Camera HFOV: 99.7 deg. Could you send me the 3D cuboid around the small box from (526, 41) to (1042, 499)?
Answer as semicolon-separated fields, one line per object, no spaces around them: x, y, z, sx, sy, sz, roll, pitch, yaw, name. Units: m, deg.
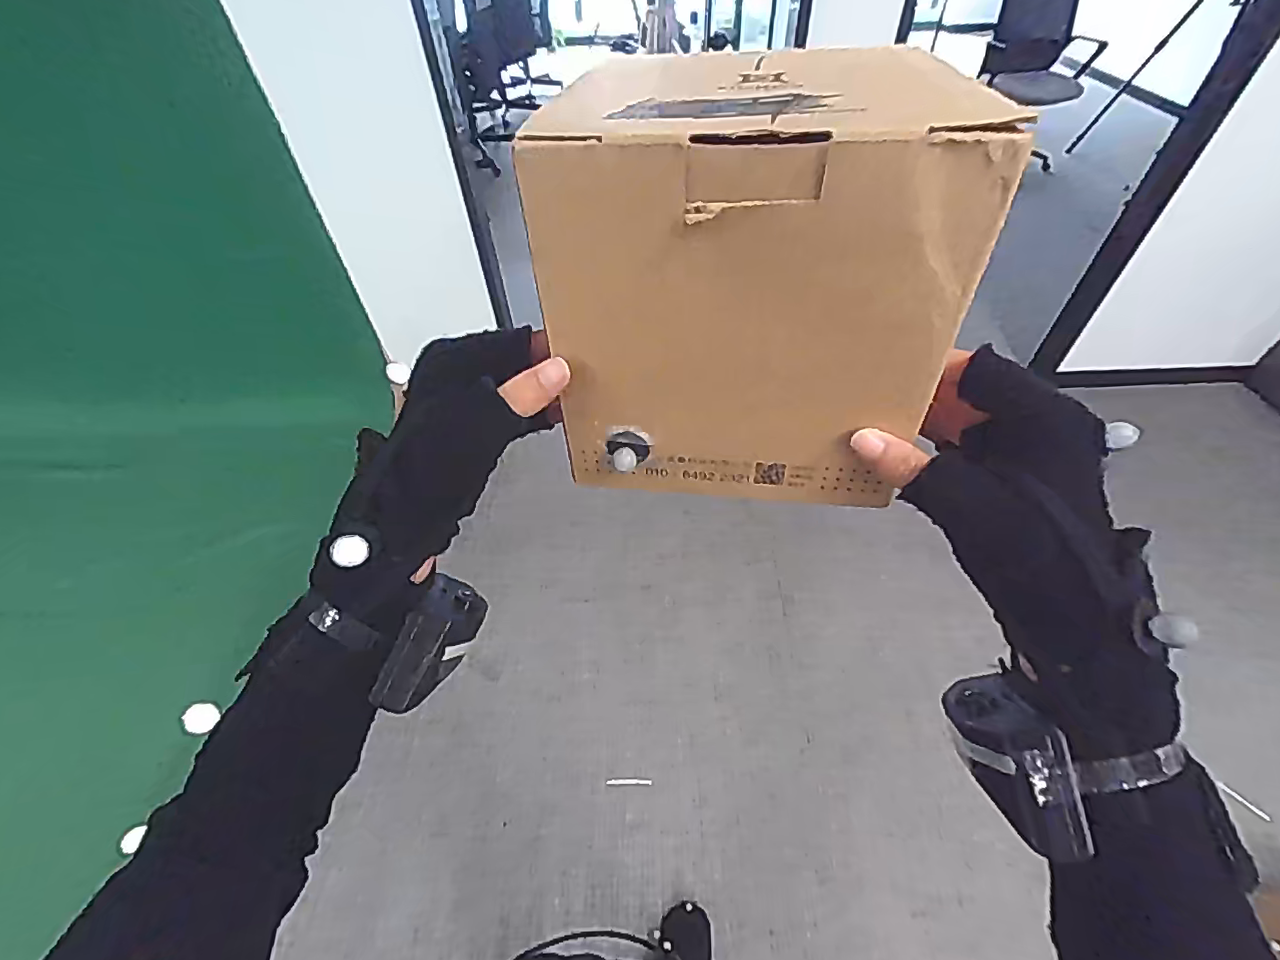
0.058;-0.108;0.285;0.168;0.176;0.179;4;45;8;small box
